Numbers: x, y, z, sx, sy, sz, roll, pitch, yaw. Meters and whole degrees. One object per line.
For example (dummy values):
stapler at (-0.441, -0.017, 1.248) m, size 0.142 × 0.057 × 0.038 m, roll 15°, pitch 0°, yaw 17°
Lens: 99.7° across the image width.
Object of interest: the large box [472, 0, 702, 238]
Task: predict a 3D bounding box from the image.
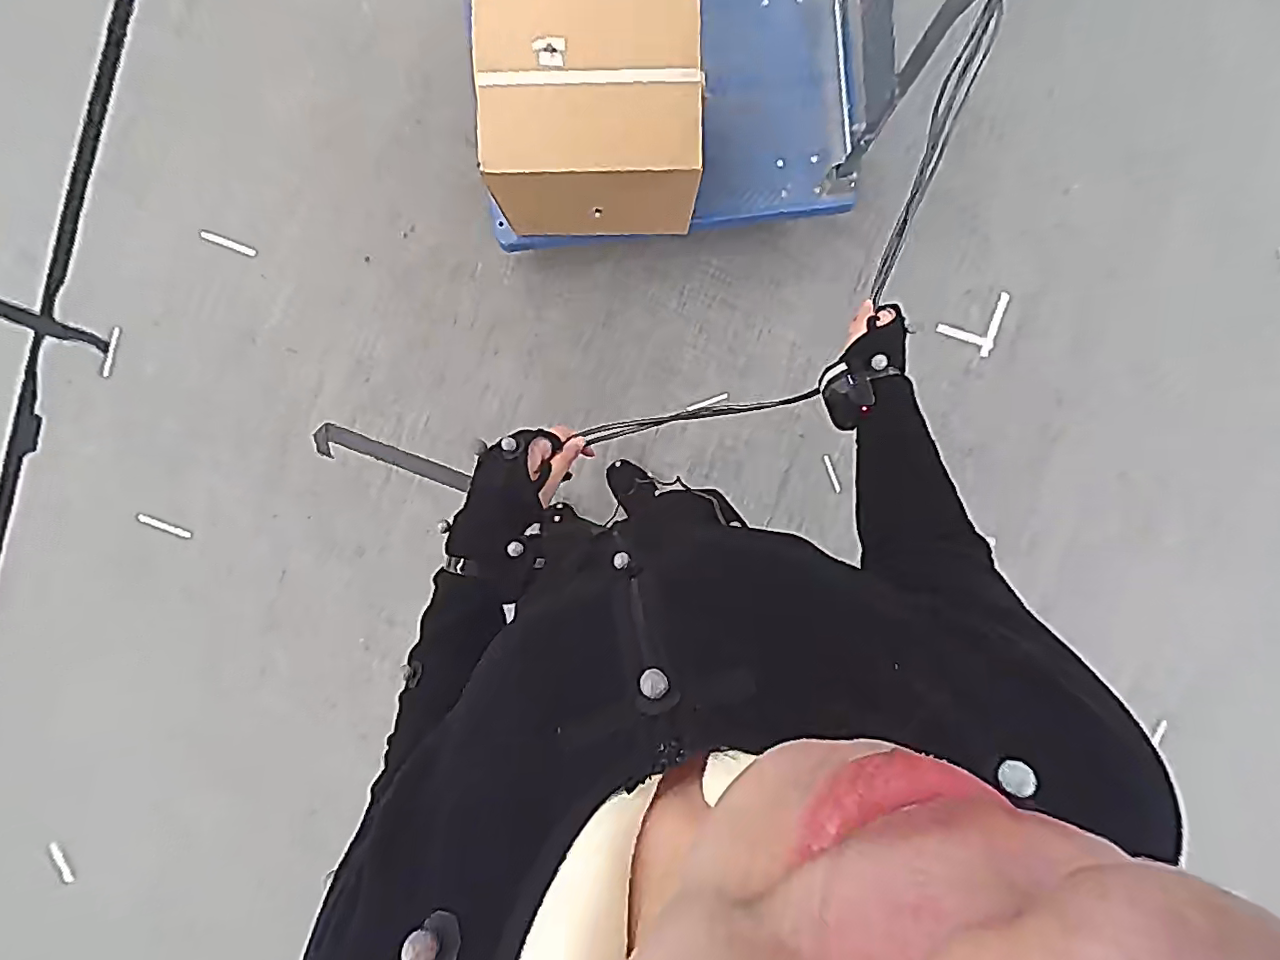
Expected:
large box at (-0.090, -0.708, 1.104) m, size 0.408 × 0.320 × 0.320 m, roll -1°, pitch 94°, yaw 1°
